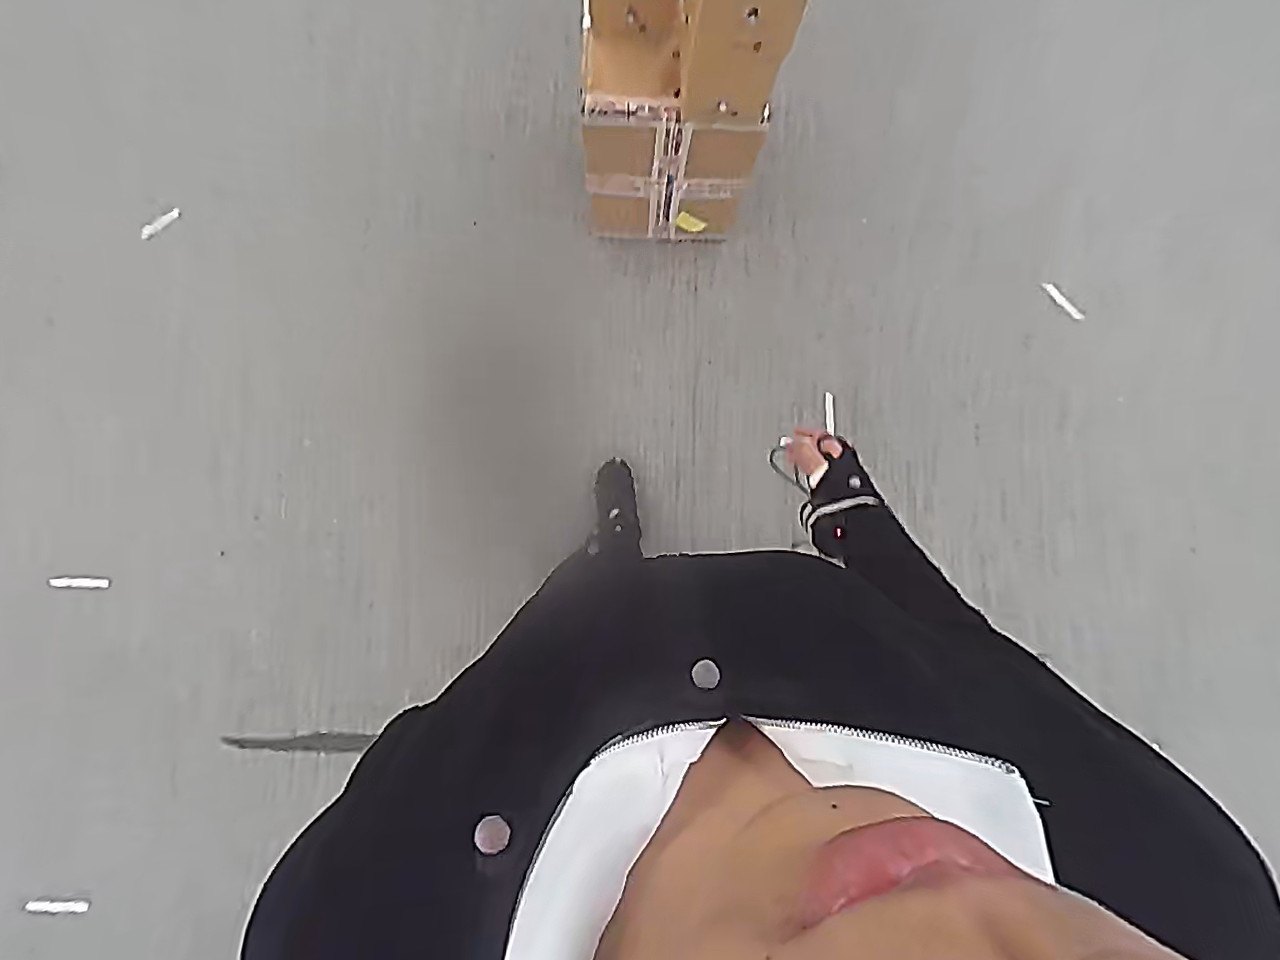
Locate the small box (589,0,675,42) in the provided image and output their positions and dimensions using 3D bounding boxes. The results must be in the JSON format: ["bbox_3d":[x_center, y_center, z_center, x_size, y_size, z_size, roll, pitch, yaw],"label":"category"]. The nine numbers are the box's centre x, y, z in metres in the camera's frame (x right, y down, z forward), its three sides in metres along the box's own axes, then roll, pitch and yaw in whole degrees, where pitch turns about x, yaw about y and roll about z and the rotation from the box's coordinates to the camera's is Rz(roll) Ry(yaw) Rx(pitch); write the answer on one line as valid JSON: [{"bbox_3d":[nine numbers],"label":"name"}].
[{"bbox_3d":[-0.014,-0.985,1.023,0.168,0.176,0.179,1,87,0],"label":"small box"}]

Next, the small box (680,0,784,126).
[{"bbox_3d":[0.166,-0.810,1.016,0.168,0.176,0.179,-1,88,-2],"label":"small box"}]

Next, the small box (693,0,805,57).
[{"bbox_3d":[0.177,-0.814,0.853,0.168,0.176,0.179,1,87,-2],"label":"small box"}]
